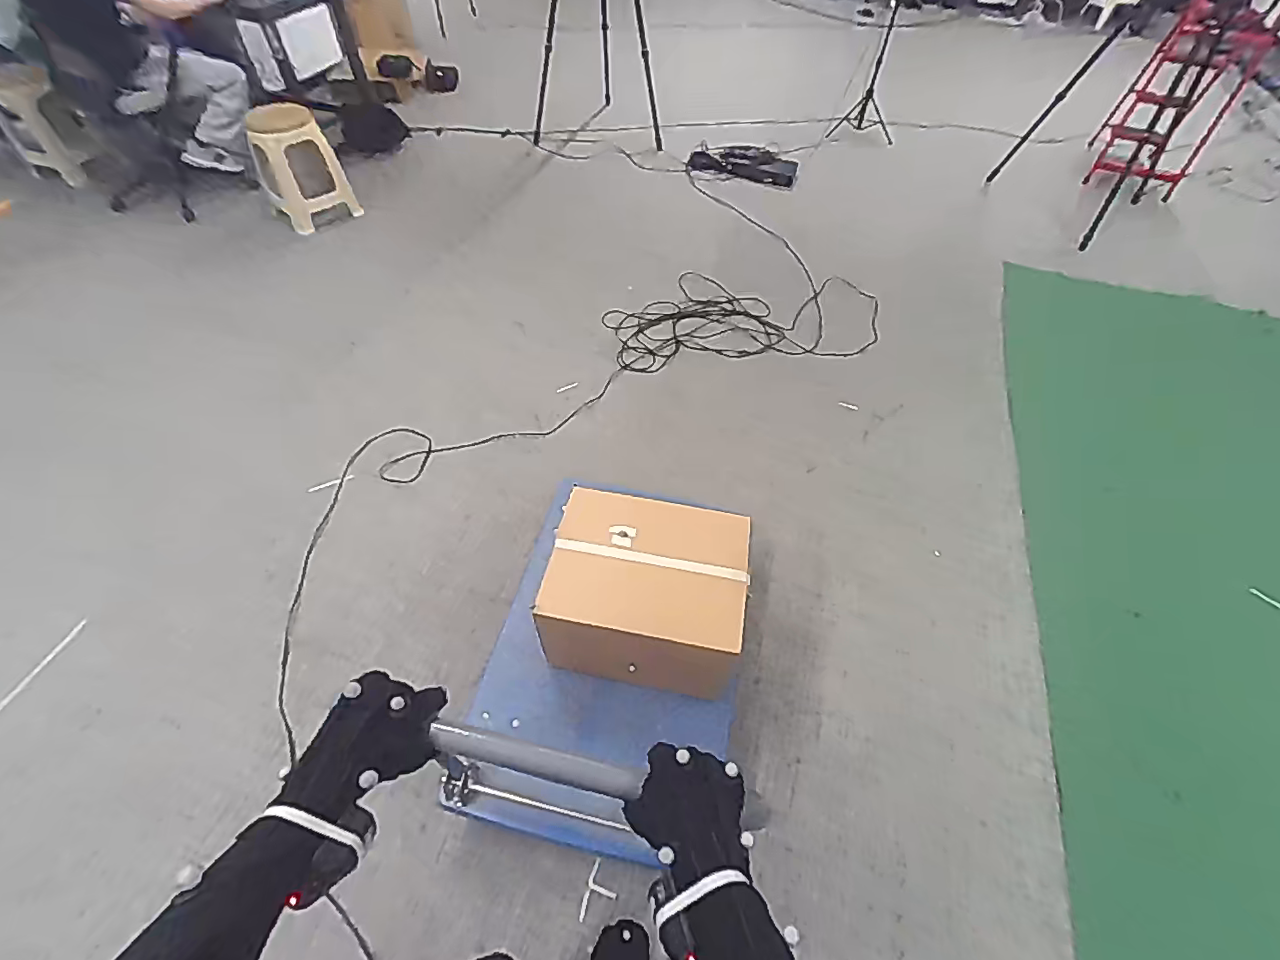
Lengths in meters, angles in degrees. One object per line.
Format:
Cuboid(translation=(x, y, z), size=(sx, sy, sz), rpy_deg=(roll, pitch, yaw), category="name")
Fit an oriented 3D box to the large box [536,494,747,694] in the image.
Cuboid(translation=(0.018, 0.266, 1.242), size=(0.408, 0.320, 0.320), rpy_deg=(9, 52, 7), category="large box")
